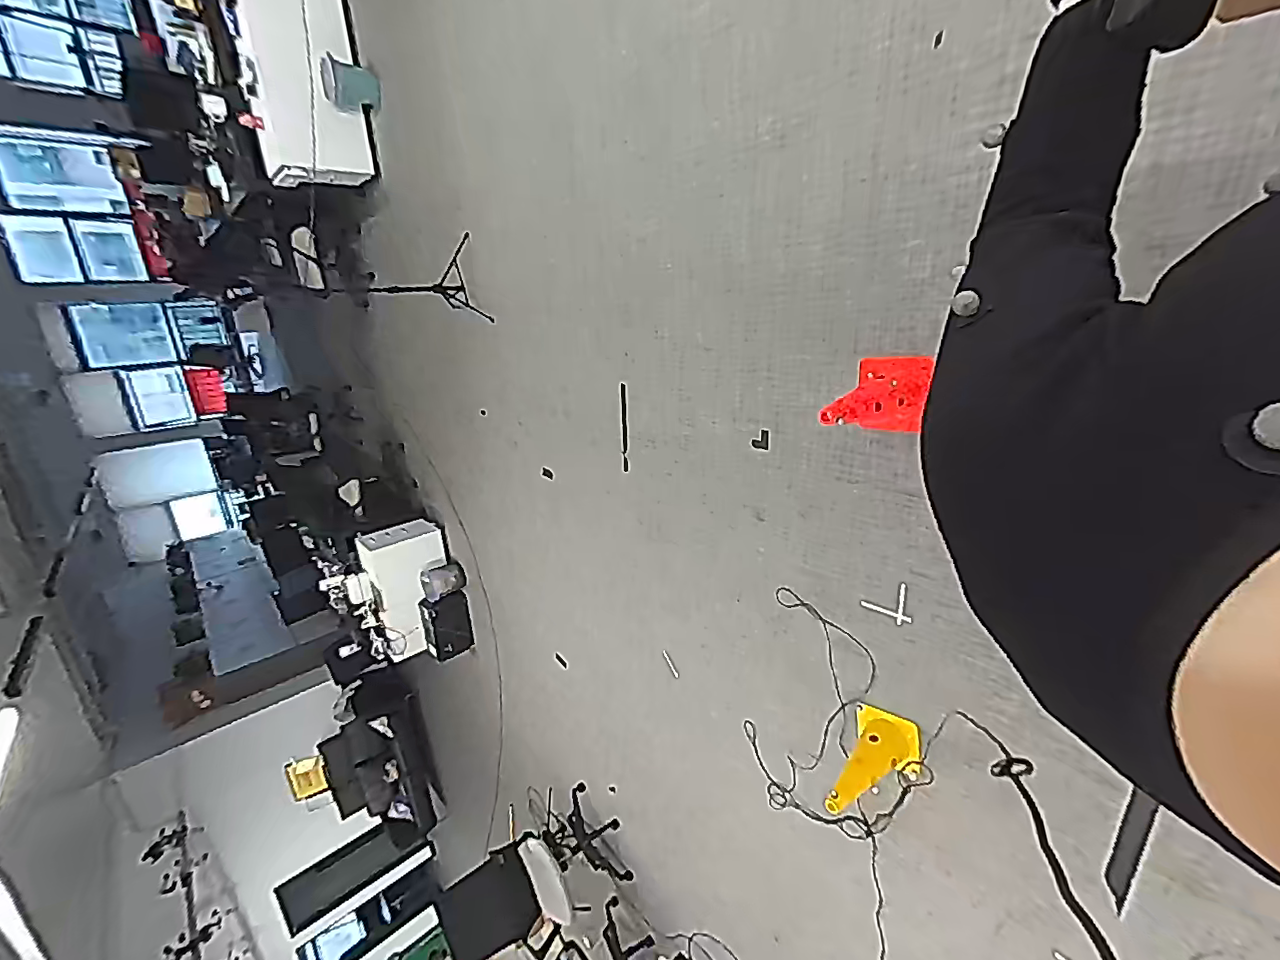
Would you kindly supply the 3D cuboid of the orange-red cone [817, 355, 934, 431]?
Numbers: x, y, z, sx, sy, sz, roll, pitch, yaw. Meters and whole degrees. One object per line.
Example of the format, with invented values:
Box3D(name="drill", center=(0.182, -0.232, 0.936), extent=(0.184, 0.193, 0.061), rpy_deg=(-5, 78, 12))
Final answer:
Box3D(name="orange-red cone", center=(0.561, -0.191, 1.362), extent=(0.198, 0.360, 0.199), rpy_deg=(15, 117, 48))
